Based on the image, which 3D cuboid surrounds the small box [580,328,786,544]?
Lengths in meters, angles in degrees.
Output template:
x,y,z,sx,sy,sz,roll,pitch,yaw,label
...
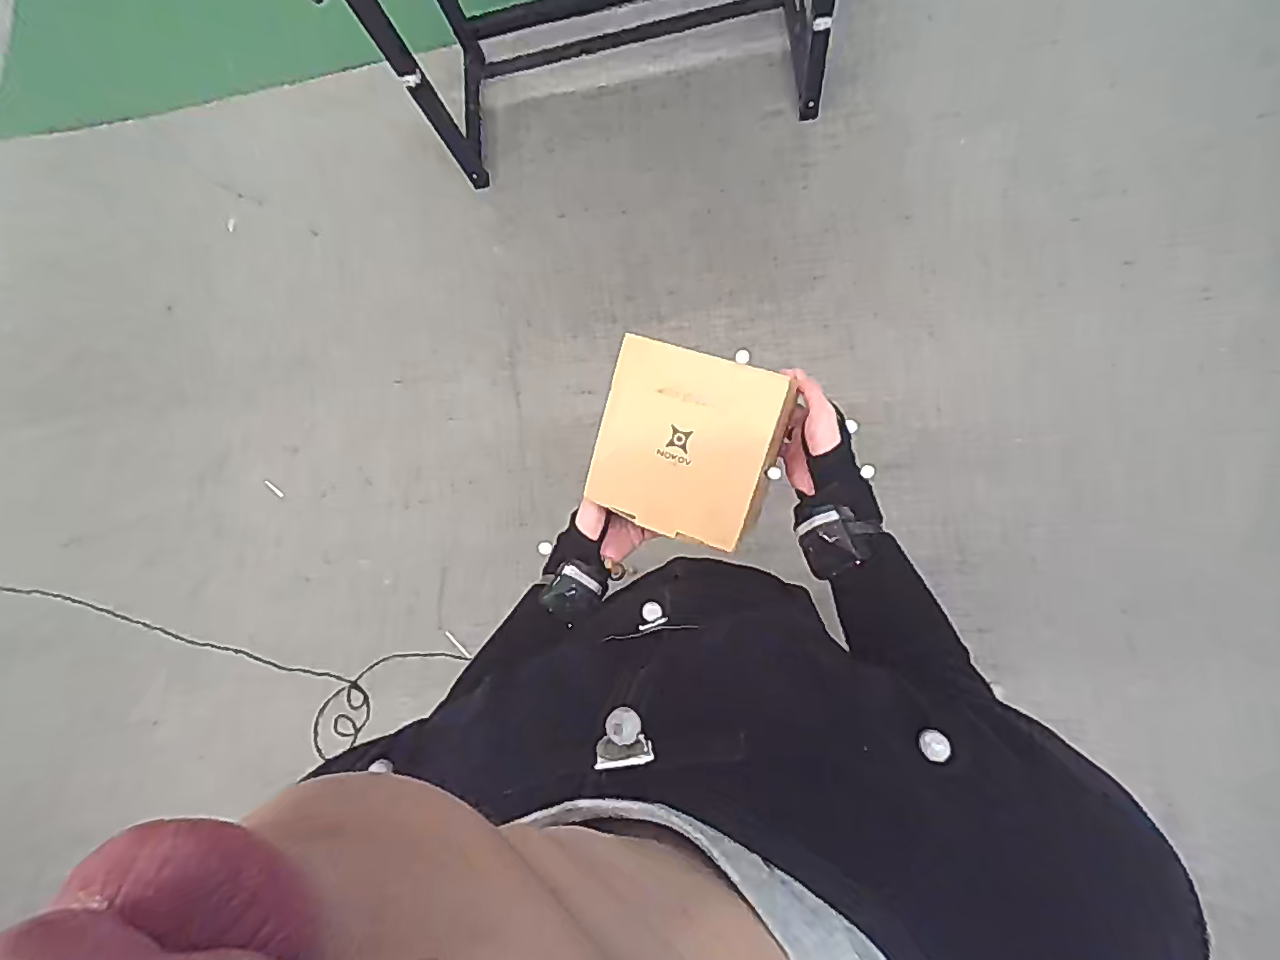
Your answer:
x,y,z,sx,sy,sz,roll,pitch,yaw,label
0.057,-0.053,0.600,0.168,0.176,0.179,18,102,15,small box
